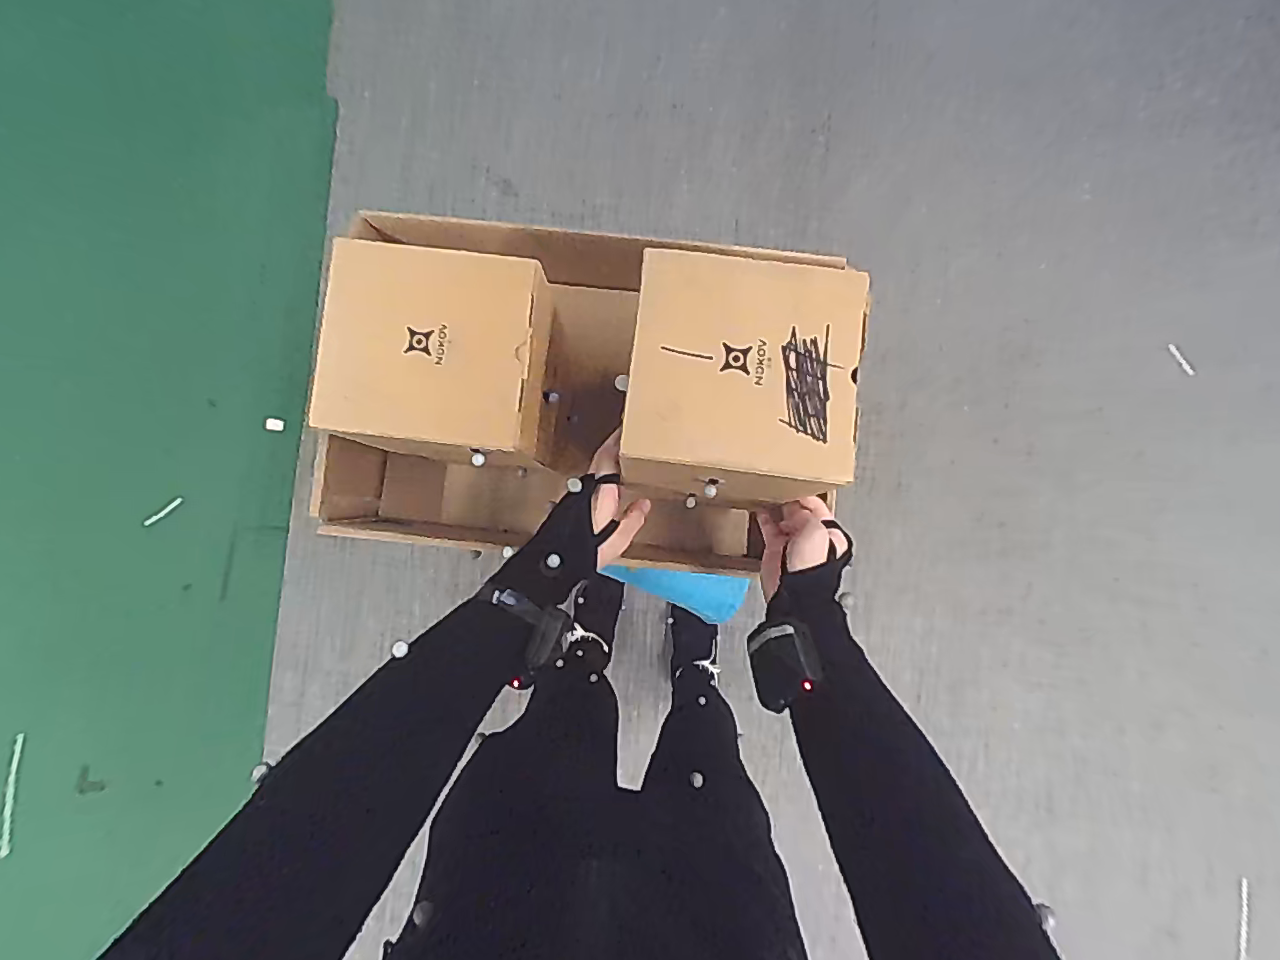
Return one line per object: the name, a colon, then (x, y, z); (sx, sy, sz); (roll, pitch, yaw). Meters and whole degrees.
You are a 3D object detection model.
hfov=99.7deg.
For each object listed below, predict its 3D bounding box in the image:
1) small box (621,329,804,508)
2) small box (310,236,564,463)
small box: (0.078, -0.061, 0.645); (0.179, 0.176, 0.168); (8, 83, 1)
small box: (-0.180, -0.112, 0.532); (0.179, 0.176, 0.168); (6, 86, -1)
